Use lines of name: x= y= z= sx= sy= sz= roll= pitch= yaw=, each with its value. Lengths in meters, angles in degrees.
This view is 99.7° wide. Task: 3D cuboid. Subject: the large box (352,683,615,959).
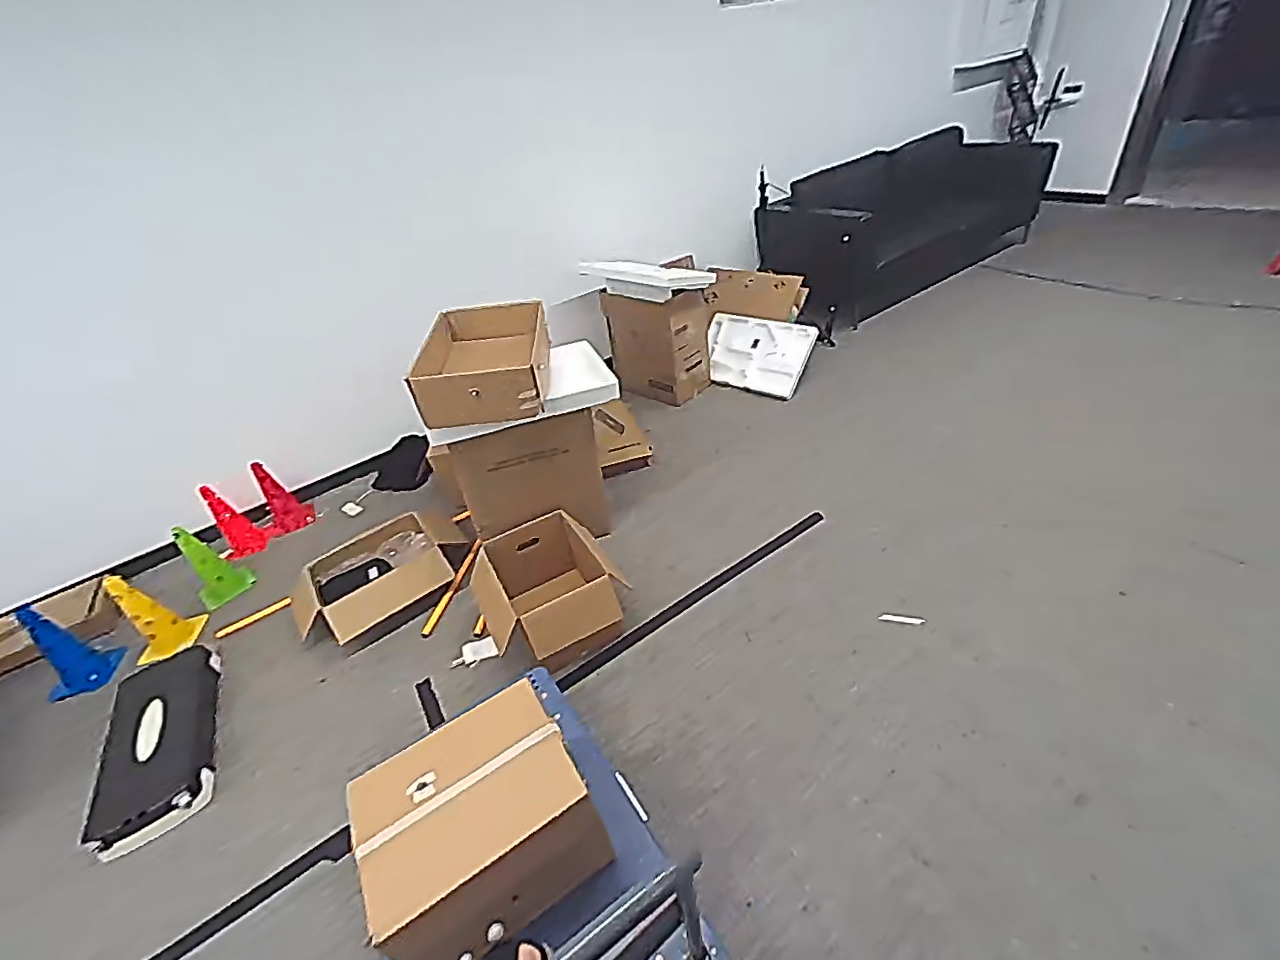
large box: x=-0.317 y=0.731 z=1.149 sx=0.408 sy=0.320 sz=0.320 roll=-28 pitch=38 yaw=-21
